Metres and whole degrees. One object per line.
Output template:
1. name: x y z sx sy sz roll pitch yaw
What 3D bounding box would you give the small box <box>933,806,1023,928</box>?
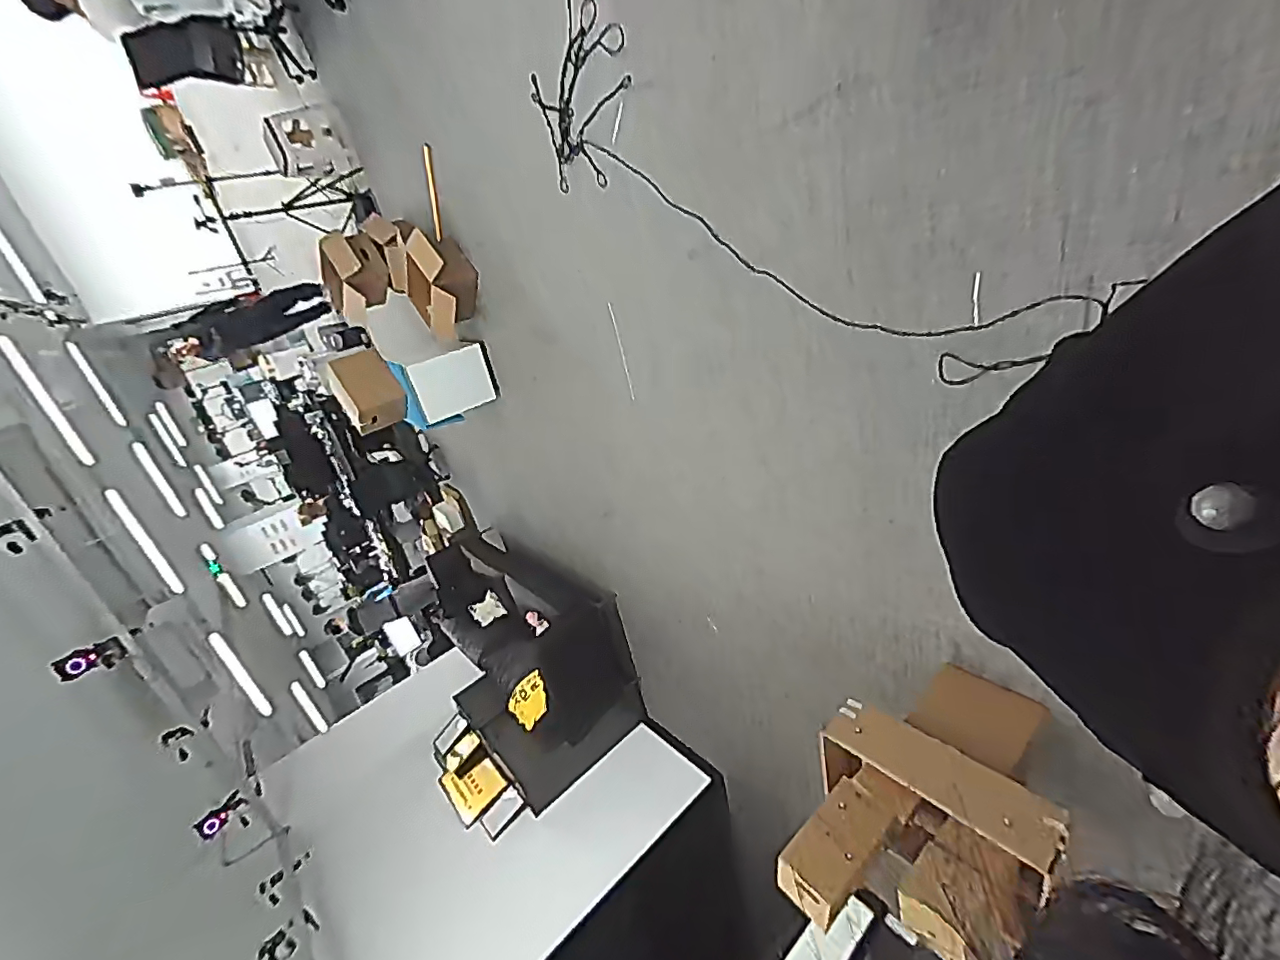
1. small box: 0.934 1.061 1.494 0.168 0.176 0.179 14 125 50

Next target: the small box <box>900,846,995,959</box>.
1. small box: 0.802 1.115 1.410 0.168 0.176 0.179 15 126 51

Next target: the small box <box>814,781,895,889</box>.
1. small box: 0.633 1.043 1.604 0.168 0.176 0.179 25 134 45

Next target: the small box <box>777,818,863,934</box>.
1. small box: 0.507 1.107 1.522 0.168 0.176 0.179 28 137 43
